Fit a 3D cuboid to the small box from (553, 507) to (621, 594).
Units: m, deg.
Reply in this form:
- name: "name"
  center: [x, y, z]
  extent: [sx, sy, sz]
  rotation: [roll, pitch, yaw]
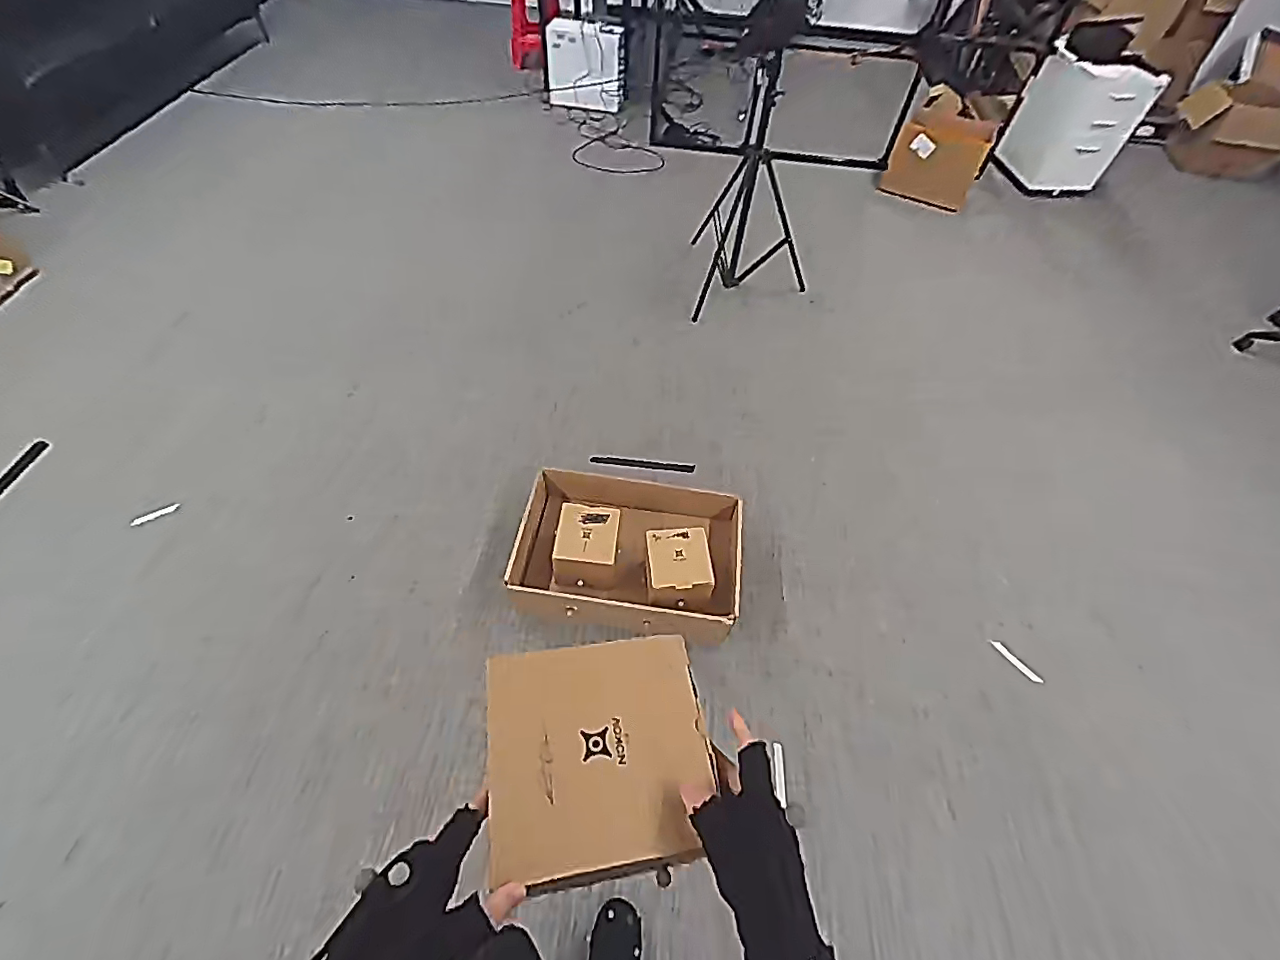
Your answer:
- name: "small box"
  center: [-0.148, 0.201, 1.534]
  extent: [0.168, 0.176, 0.179]
  rotation: [6, 54, 0]

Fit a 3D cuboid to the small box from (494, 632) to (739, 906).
- name: "small box"
  center: [-0.034, 0.259, 0.488]
  extent: [0.179, 0.176, 0.168]
  rotation: [-5, 49, -12]
